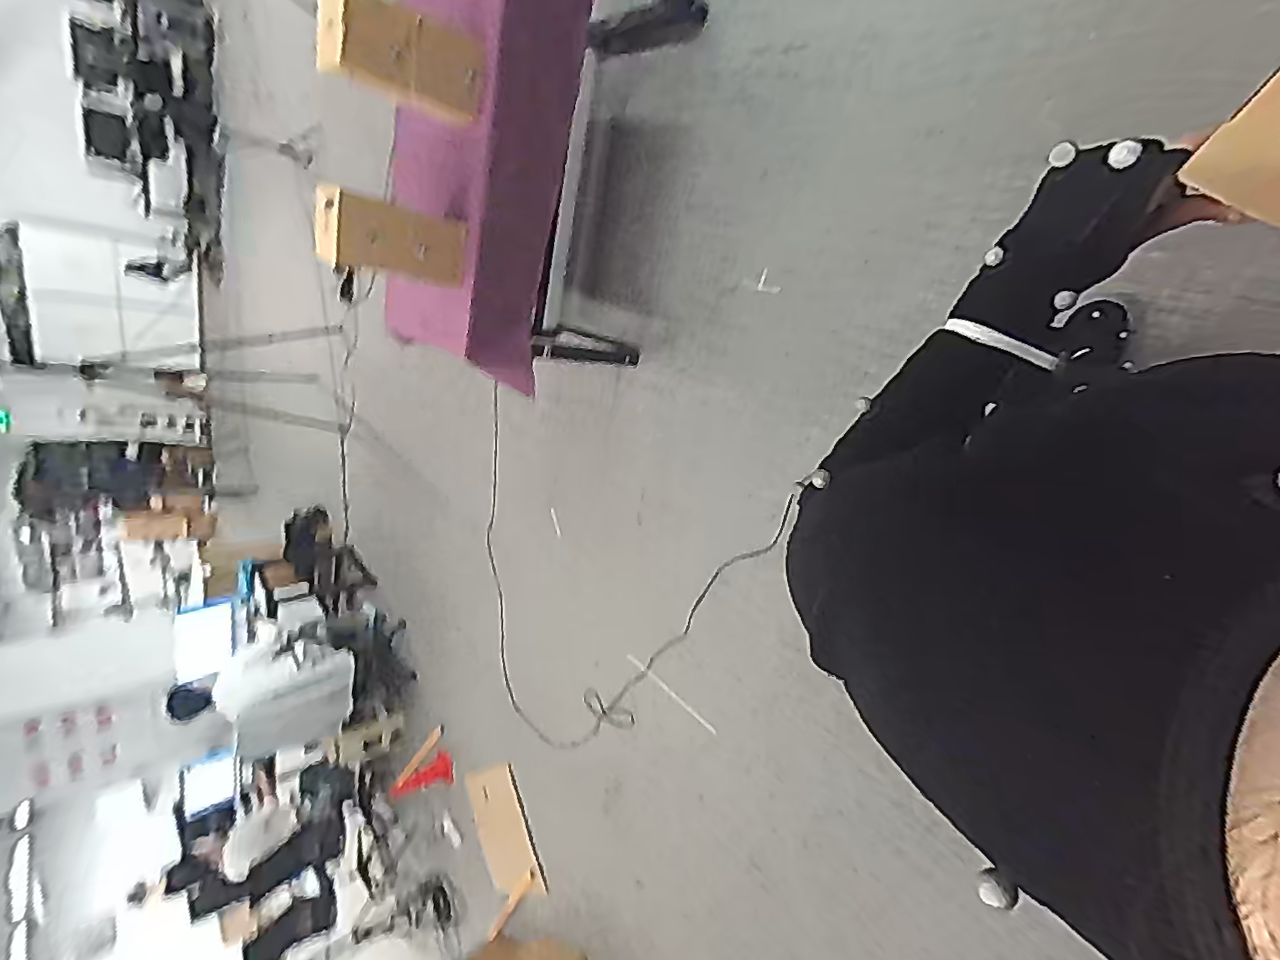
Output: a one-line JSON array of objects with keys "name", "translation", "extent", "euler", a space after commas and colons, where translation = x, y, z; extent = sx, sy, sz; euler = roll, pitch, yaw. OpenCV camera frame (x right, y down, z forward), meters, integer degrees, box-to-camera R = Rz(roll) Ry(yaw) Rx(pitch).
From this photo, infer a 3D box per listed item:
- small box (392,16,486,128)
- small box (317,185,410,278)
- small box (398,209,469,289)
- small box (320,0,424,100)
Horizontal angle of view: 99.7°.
[{"name": "small box", "translation": [-0.516, -1.041, 1.393], "extent": [0.168, 0.176, 0.179], "euler": [30, 114, 39]}, {"name": "small box", "translation": [-0.716, -0.641, 1.404], "extent": [0.168, 0.176, 0.179], "euler": [30, 116, 37]}, {"name": "small box", "translation": [-0.602, -0.649, 1.522], "extent": [0.168, 0.176, 0.179], "euler": [31, 115, 37]}, {"name": "small box", "translation": [-0.637, -1.030, 1.284], "extent": [0.179, 0.176, 0.168], "euler": [30, 115, 37]}]
